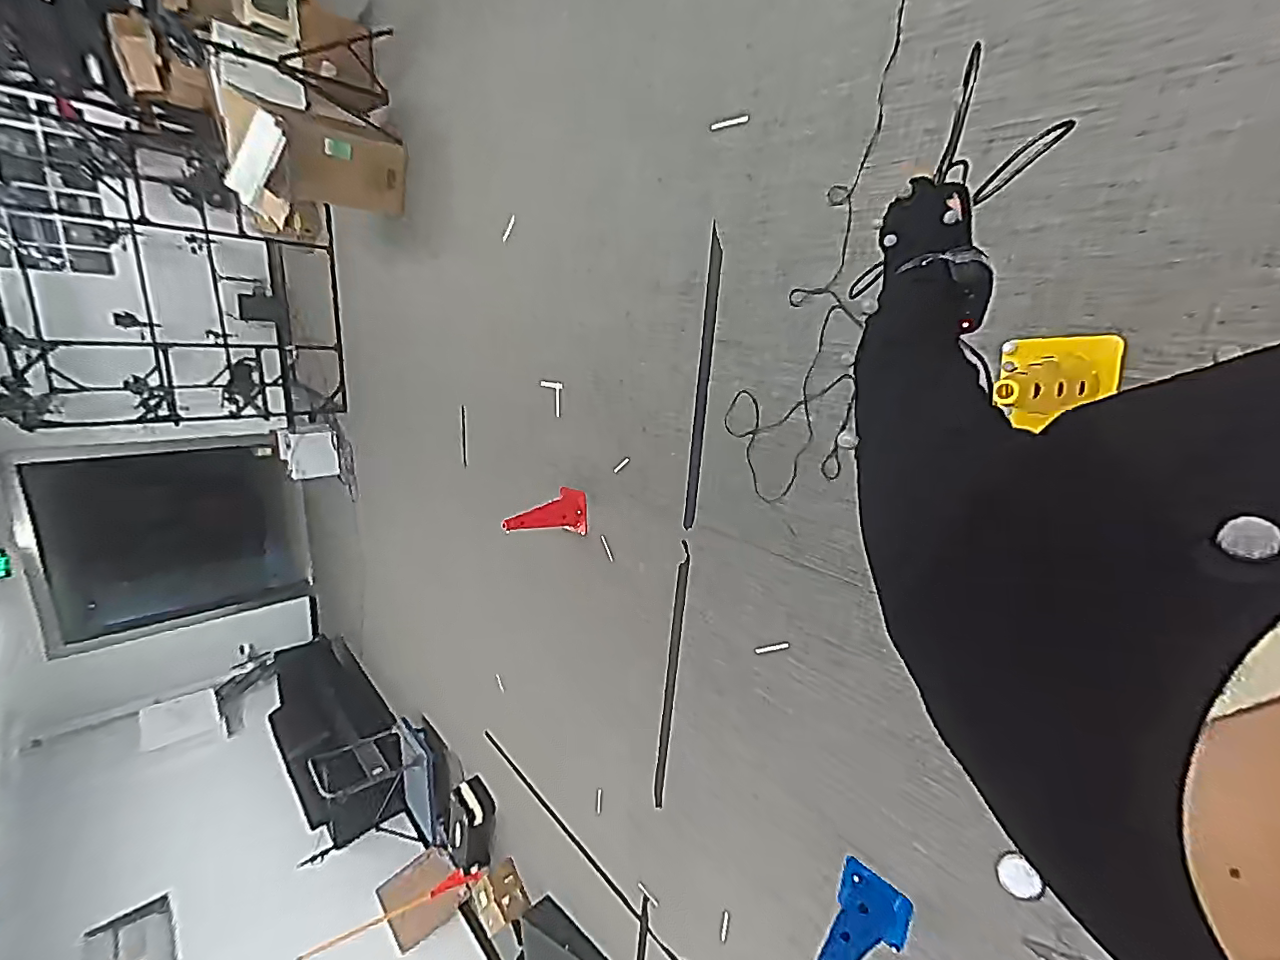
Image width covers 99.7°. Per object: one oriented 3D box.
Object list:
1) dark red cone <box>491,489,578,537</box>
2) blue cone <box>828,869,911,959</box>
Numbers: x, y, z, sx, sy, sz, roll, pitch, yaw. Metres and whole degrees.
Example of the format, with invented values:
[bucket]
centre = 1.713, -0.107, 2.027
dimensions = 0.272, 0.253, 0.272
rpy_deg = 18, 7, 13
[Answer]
[dark red cone]
centre = -0.465, 0.172, 2.360
dimensions = 0.201, 0.394, 0.202
rpy_deg = 10, 106, 46
[blue cone]
centre = 0.570, 1.294, 1.484
dimensions = 0.192, 0.380, 0.193
rpy_deg = 21, 114, 43
